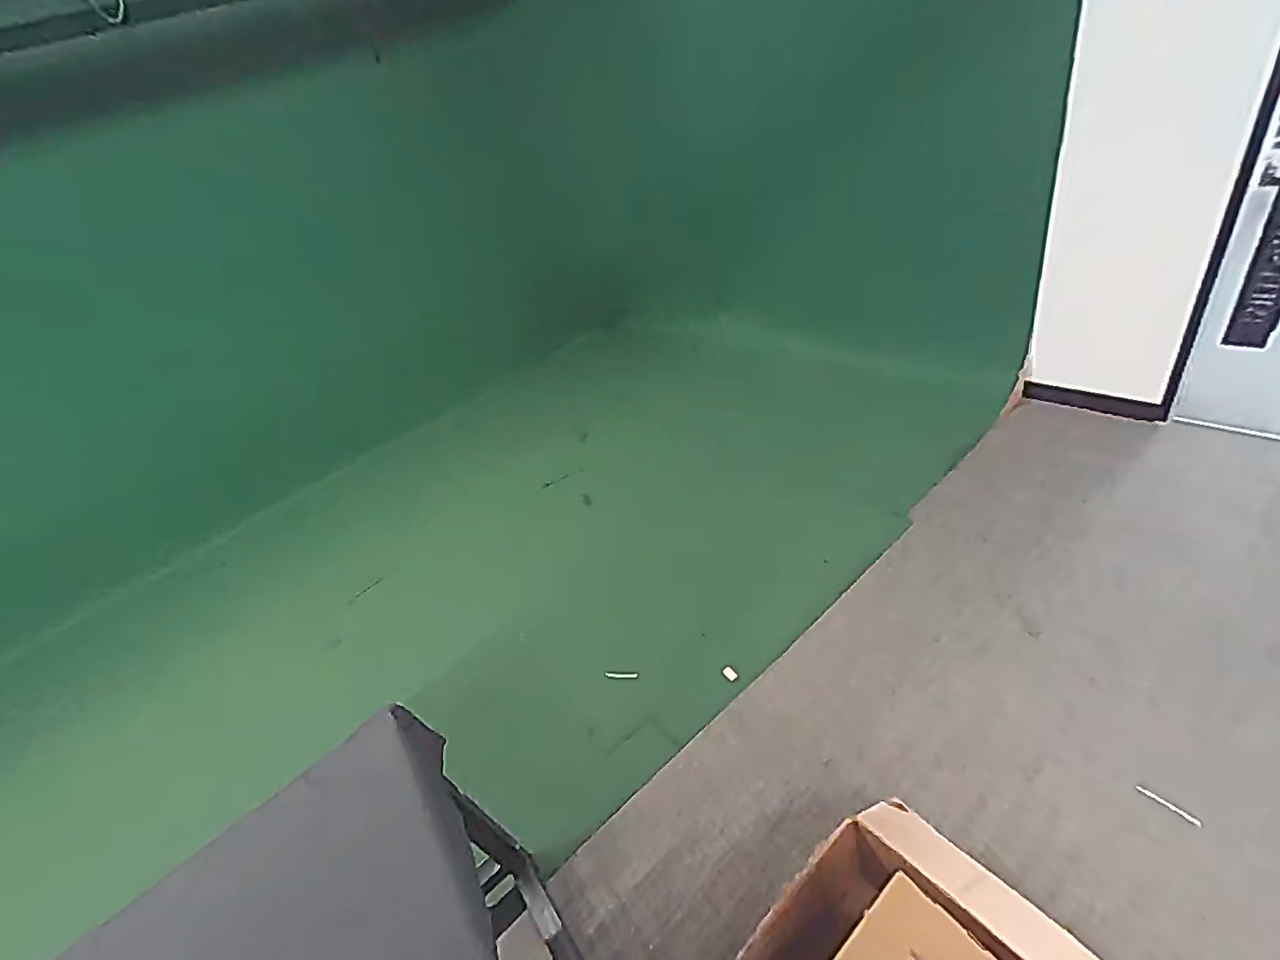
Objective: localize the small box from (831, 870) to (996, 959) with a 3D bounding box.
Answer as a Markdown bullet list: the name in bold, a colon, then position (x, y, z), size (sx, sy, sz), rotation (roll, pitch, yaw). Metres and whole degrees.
- **small box**: position (0.404, 0.742, 0.802), size (0.179, 0.176, 0.168), rotation (-33, 39, -22)
